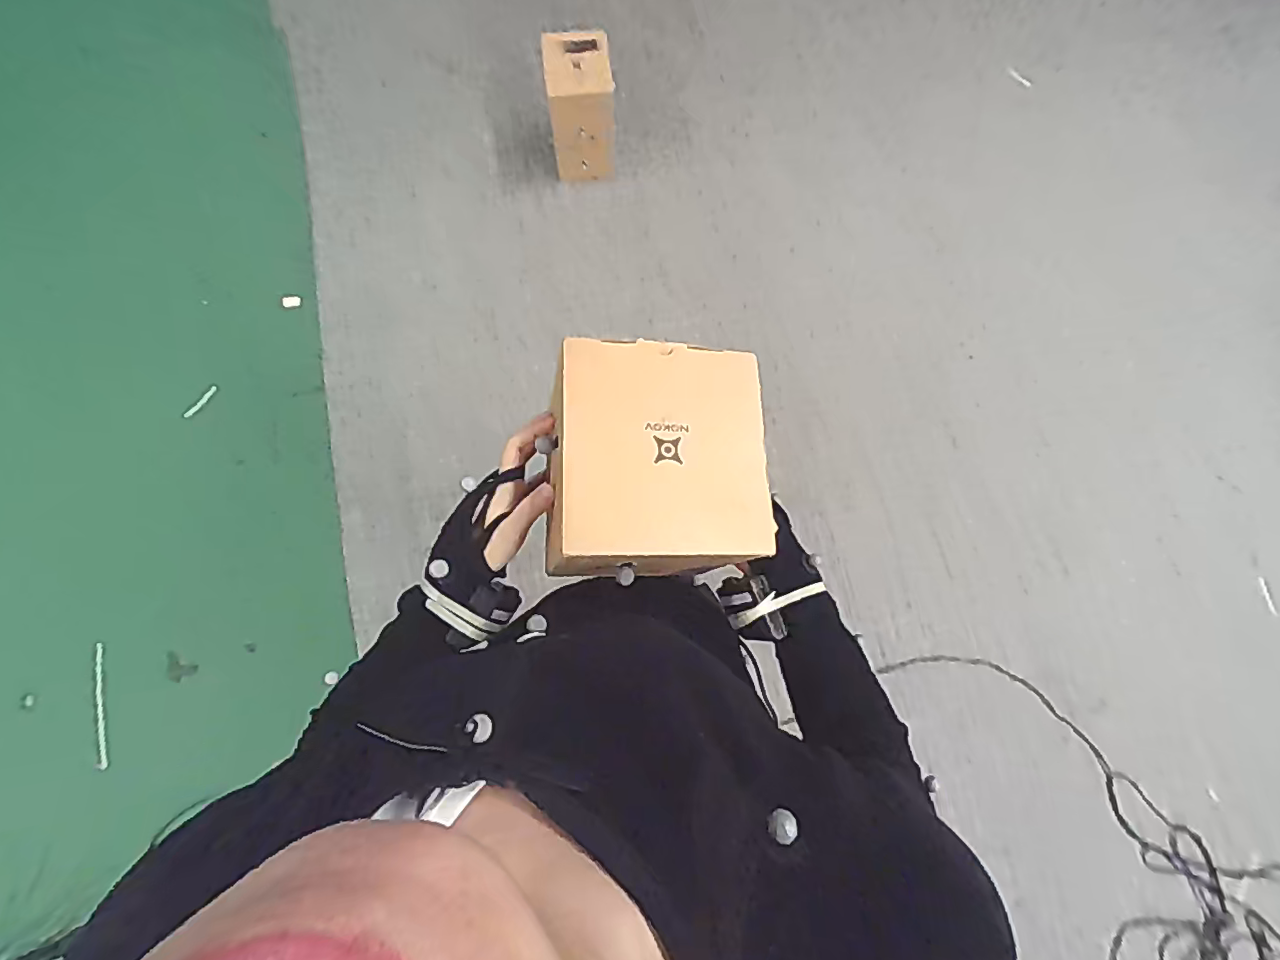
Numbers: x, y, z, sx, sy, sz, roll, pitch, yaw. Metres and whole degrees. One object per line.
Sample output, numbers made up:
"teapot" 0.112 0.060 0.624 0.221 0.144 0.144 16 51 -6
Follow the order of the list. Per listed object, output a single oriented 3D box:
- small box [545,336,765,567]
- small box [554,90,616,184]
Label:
"small box" 0.001 -0.011 0.504 0.168 0.176 0.179 1 75 -13
"small box" -0.157 -0.997 1.587 0.168 0.176 0.179 -3 82 -3
